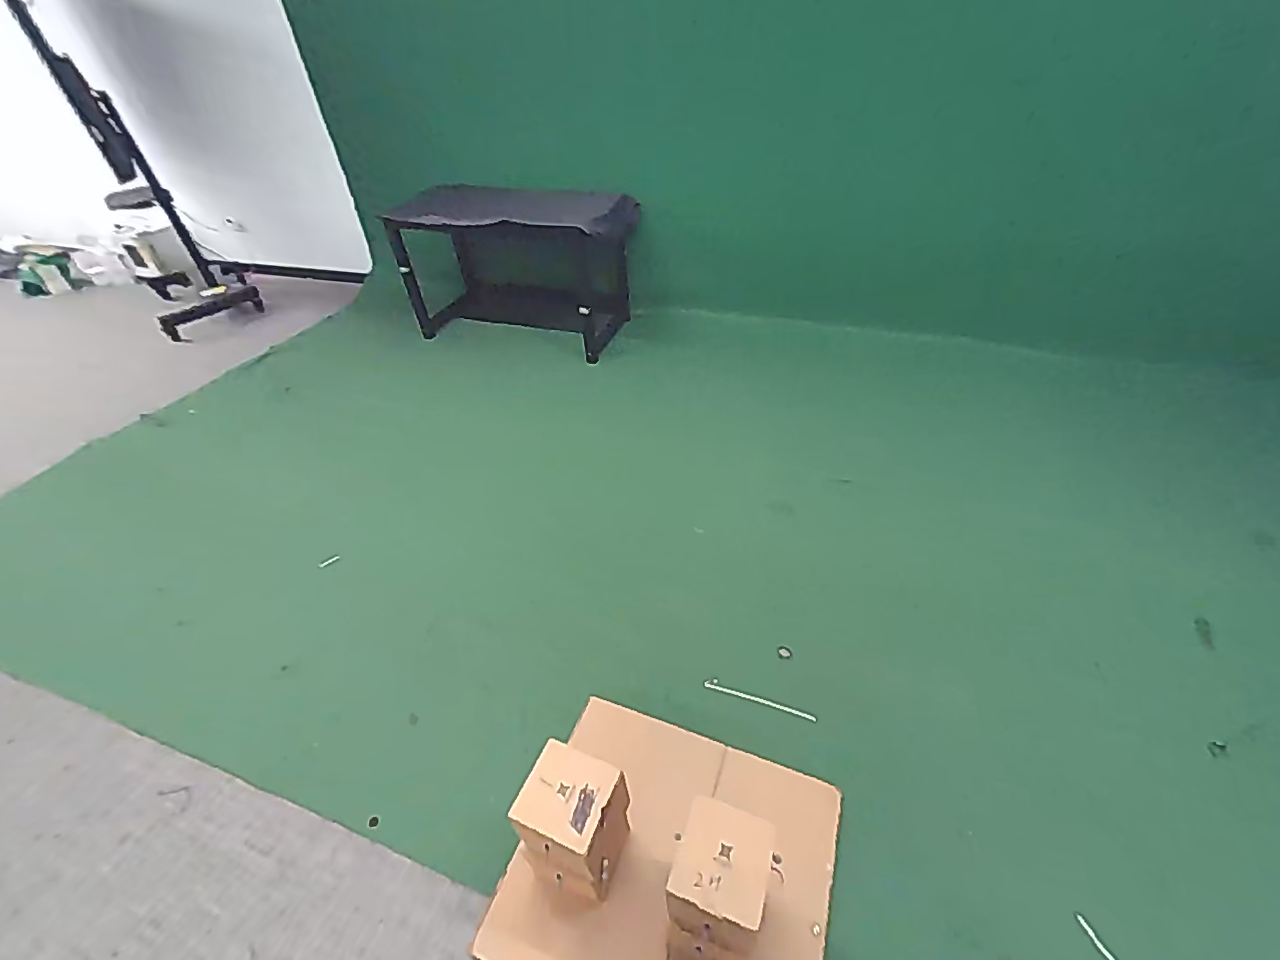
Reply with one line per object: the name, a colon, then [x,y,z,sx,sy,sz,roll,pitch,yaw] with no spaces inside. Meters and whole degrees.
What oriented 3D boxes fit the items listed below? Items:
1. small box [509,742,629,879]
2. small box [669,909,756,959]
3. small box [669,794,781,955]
small box: [-0.135,0.682,1.111,0.179,0.176,0.168,13,43,22]
small box: [0.162,0.875,1.119,0.168,0.176,0.179,11,43,17]
small box: [0.158,0.741,1.020,0.168,0.176,0.179,12,43,19]
